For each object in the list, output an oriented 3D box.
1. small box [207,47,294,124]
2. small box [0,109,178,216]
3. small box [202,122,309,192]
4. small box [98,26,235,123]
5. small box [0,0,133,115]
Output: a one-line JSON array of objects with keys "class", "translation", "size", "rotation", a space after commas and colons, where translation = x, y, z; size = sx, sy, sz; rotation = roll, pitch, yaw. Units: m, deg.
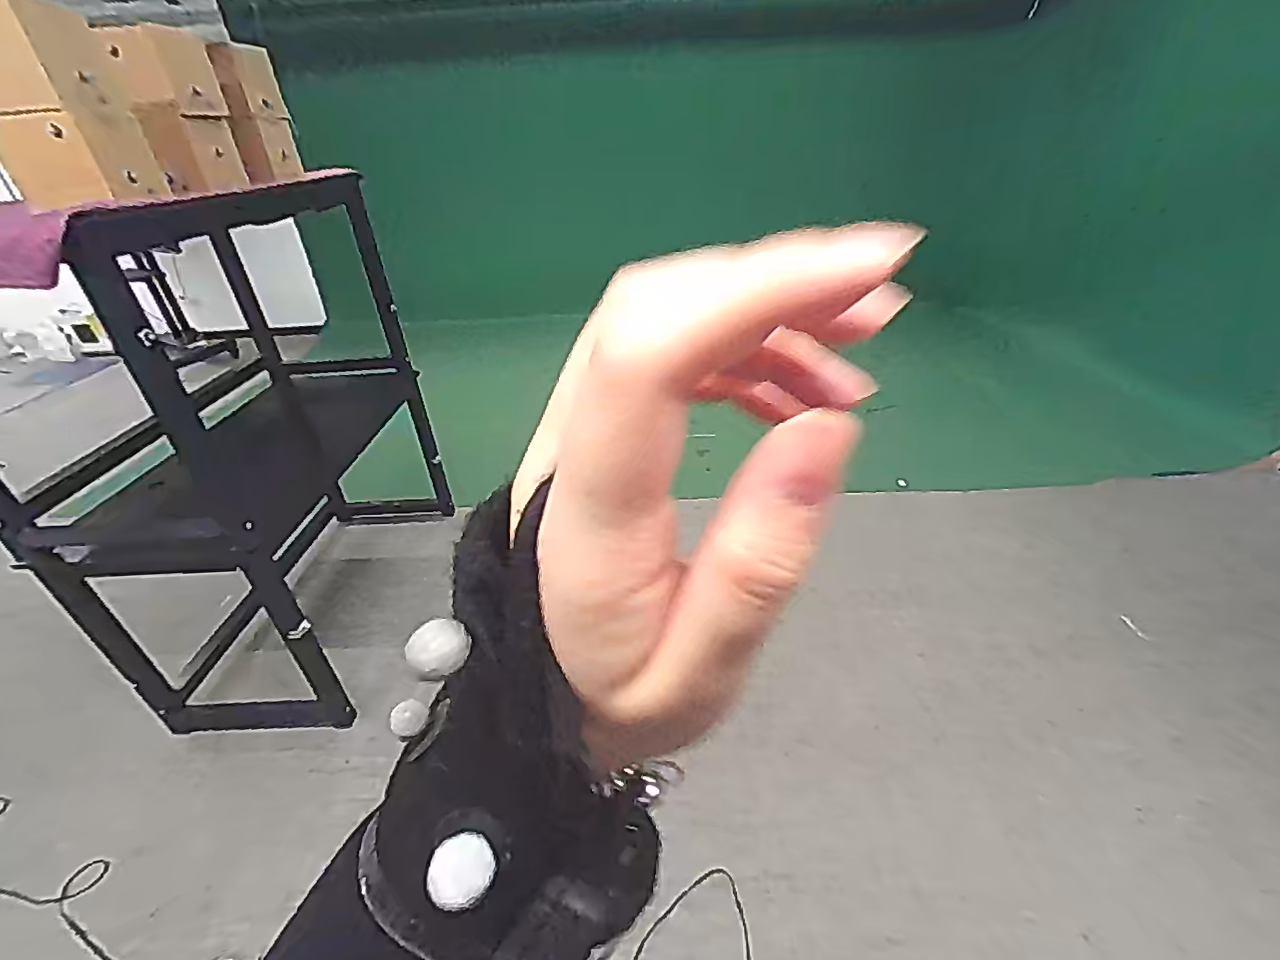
[{"class": "small box", "translation": [-1.137, -1.108, 1.533], "size": [0.179, 0.176, 0.168], "rotation": [1, 34, 3]}, {"class": "small box", "translation": [-1.107, -0.636, 1.091], "size": [0.179, 0.176, 0.168], "rotation": [-5, 32, -2]}, {"class": "small box", "translation": [-1.132, -0.965, 1.612], "size": [0.179, 0.176, 0.168], "rotation": [-1, 32, 1]}, {"class": "small box", "translation": [-1.127, -0.953, 1.284], "size": [0.179, 0.176, 0.168], "rotation": [0, 33, 3]}, {"class": "small box", "translation": [-1.126, -0.776, 1.006], "size": [0.179, 0.176, 0.168], "rotation": [-5, 32, -3]}]
